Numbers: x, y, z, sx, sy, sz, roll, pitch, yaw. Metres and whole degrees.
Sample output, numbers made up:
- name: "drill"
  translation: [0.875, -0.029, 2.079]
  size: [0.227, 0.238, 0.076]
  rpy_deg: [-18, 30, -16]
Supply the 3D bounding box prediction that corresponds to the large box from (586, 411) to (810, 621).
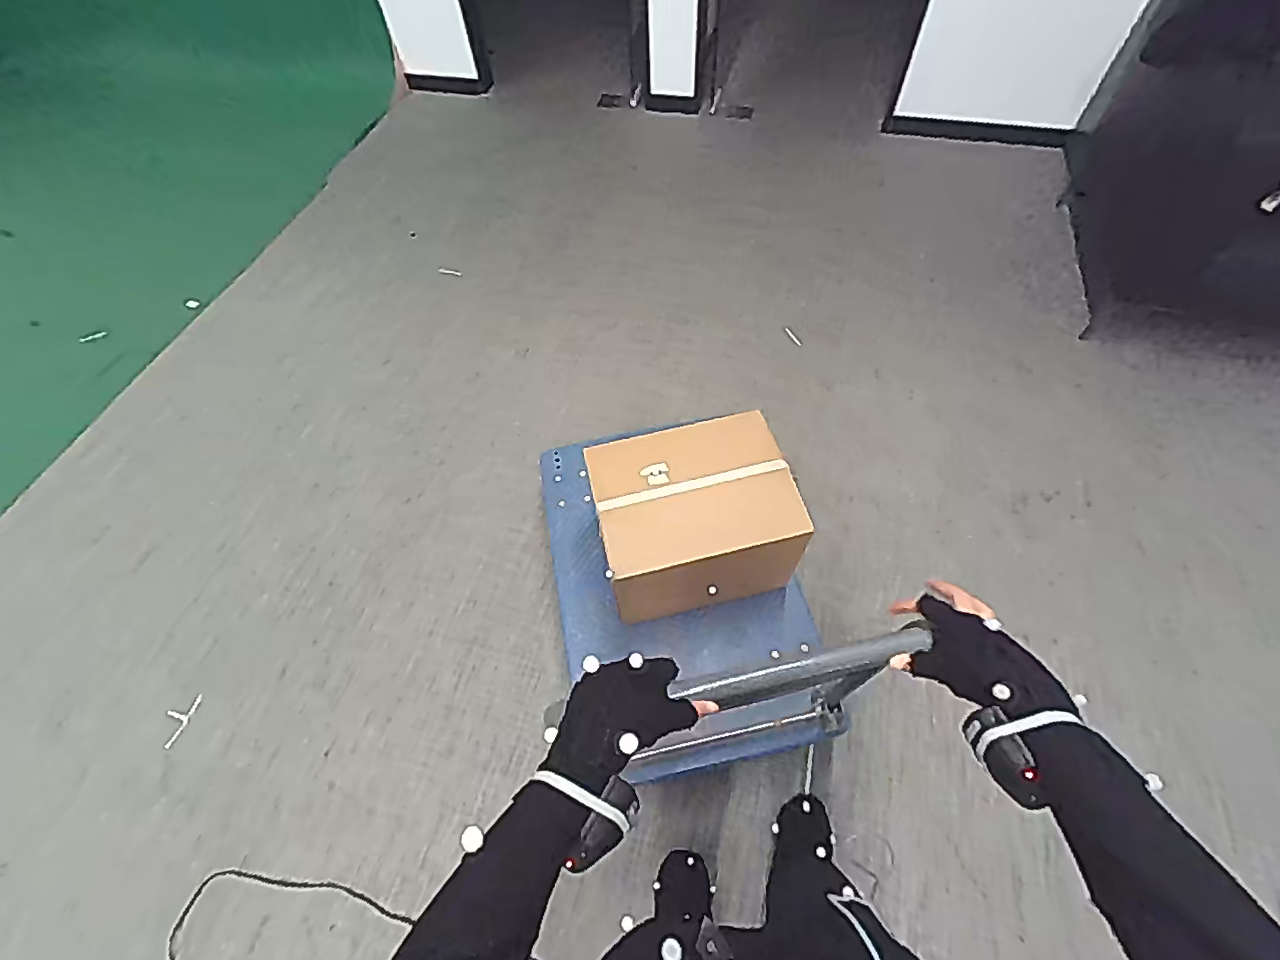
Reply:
- name: "large box"
  translation: [0.120, 0.093, 1.250]
  size: [0.408, 0.320, 0.320]
  rpy_deg: [-14, 59, -4]
